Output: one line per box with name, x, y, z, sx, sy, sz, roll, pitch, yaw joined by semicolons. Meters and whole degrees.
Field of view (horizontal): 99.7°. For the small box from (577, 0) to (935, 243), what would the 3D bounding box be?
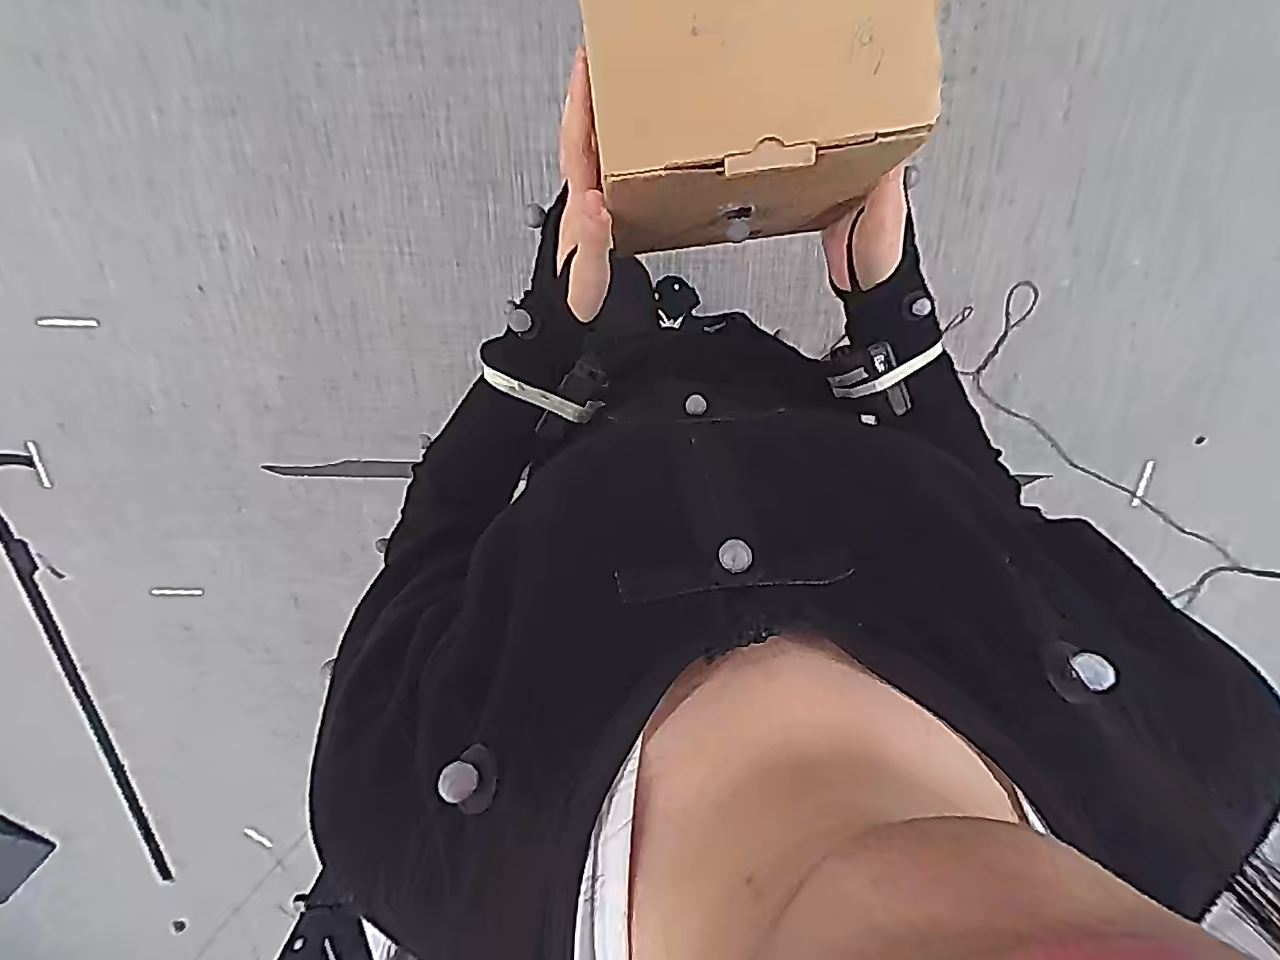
small box;0.051;-0.255;0.325;0.168;0.176;0.179;-8;101;1
